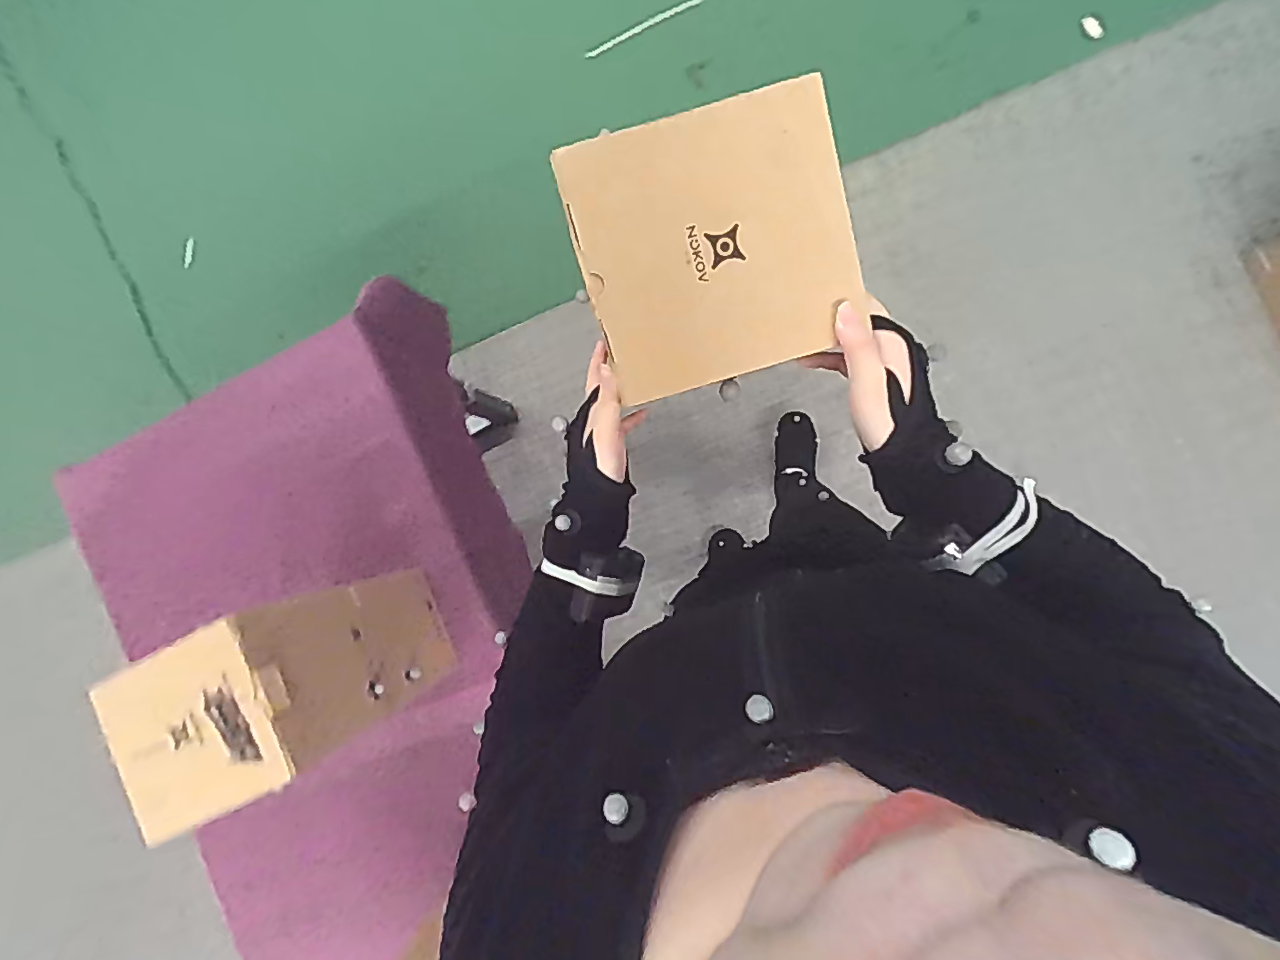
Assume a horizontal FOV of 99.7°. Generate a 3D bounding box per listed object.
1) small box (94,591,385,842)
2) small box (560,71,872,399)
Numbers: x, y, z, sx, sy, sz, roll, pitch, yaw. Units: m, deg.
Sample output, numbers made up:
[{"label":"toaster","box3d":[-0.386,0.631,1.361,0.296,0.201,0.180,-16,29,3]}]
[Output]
[{"label":"small box","box3d":[-0.415,0.239,0.594,0.179,0.176,0.168,-27,85,8]},{"label":"small box","box3d":[0.050,-0.168,0.426,0.179,0.176,0.168,-15,100,2]}]
